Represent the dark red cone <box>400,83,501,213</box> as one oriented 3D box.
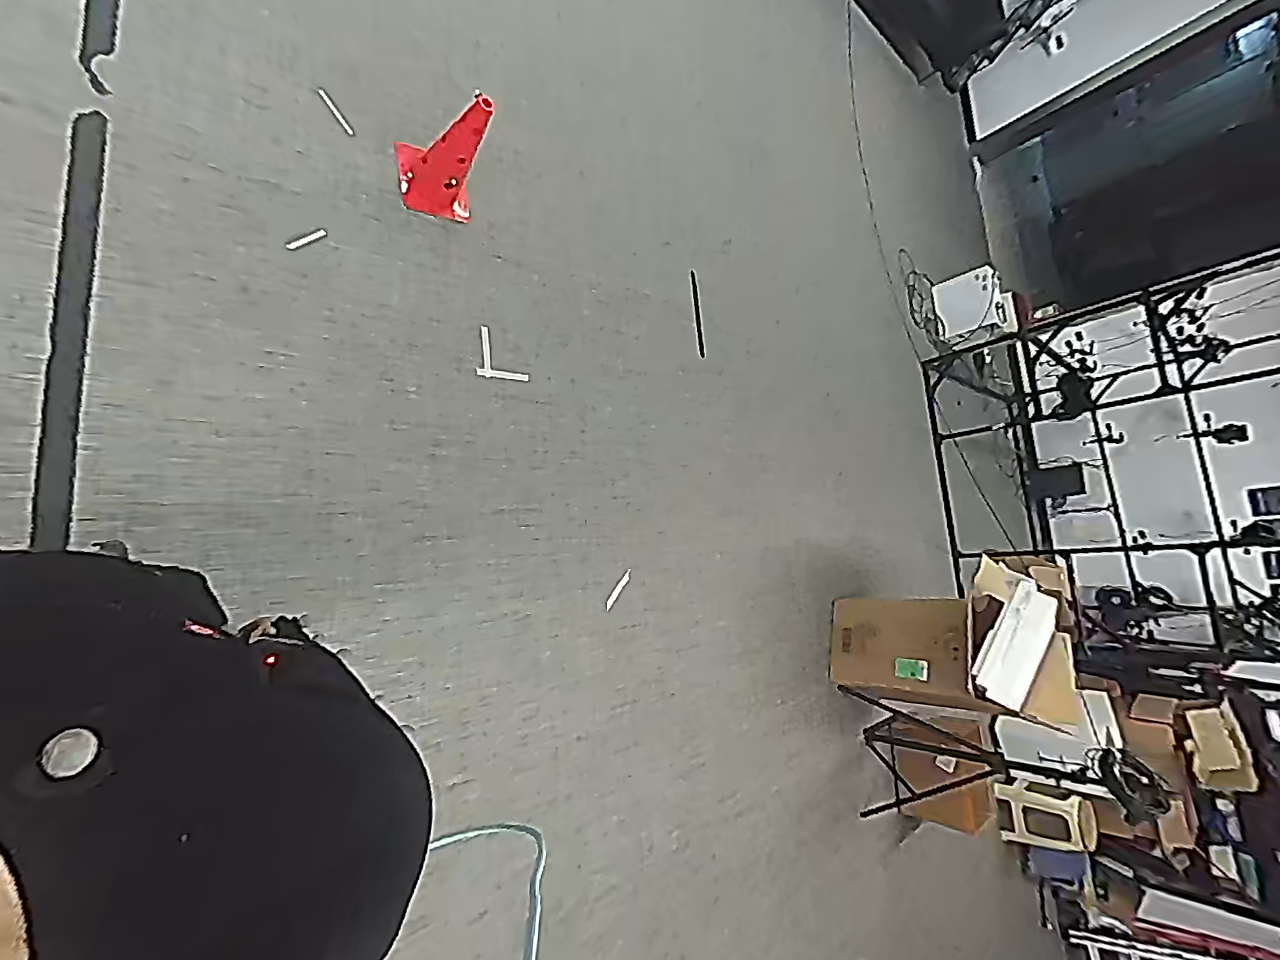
[{"bbox_3d":[-0.472,-0.900,1.427,0.201,0.394,0.202,-7,86,-41],"label":"dark red cone"}]
